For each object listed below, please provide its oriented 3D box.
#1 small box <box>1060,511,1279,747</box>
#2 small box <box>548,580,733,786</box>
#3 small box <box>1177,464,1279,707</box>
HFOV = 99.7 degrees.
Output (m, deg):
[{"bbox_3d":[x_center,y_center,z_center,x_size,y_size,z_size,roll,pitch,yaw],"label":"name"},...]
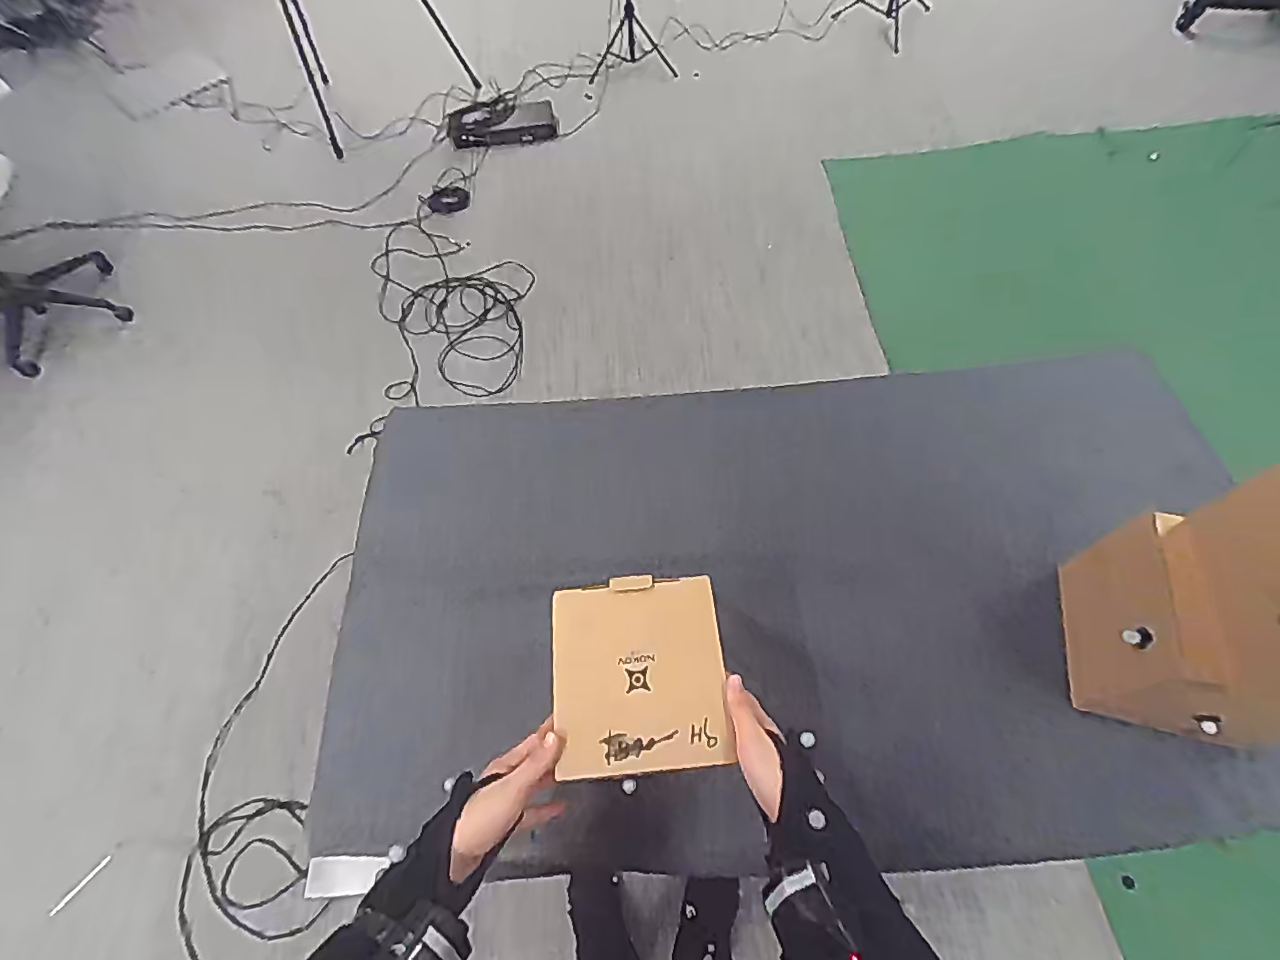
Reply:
[{"bbox_3d":[0.576,0.159,0.558,0.168,0.176,0.179,12,61,11],"label":"small box"},{"bbox_3d":[-0.002,0.223,0.580,0.168,0.176,0.179,-6,62,1],"label":"small box"},{"bbox_3d":[0.582,0.087,0.412,0.168,0.176,0.179,8,60,8],"label":"small box"}]
